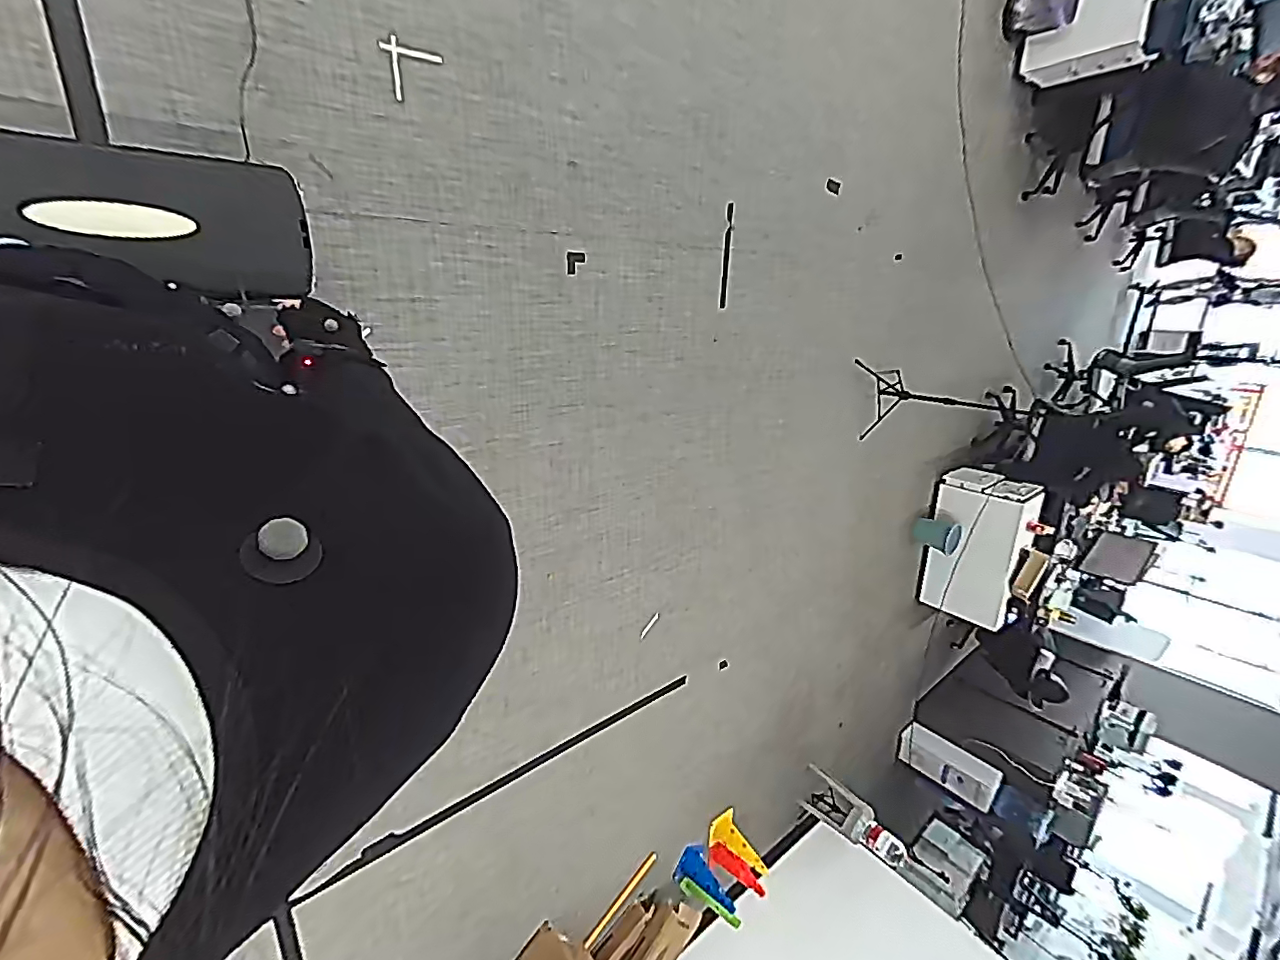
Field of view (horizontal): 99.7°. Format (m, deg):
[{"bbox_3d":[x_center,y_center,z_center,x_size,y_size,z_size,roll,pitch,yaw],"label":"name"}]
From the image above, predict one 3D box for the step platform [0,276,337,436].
[{"bbox_3d":[-1.029,-0.273,1.139,0.684,0.204,0.286,-14,112,-36],"label":"step platform"}]
